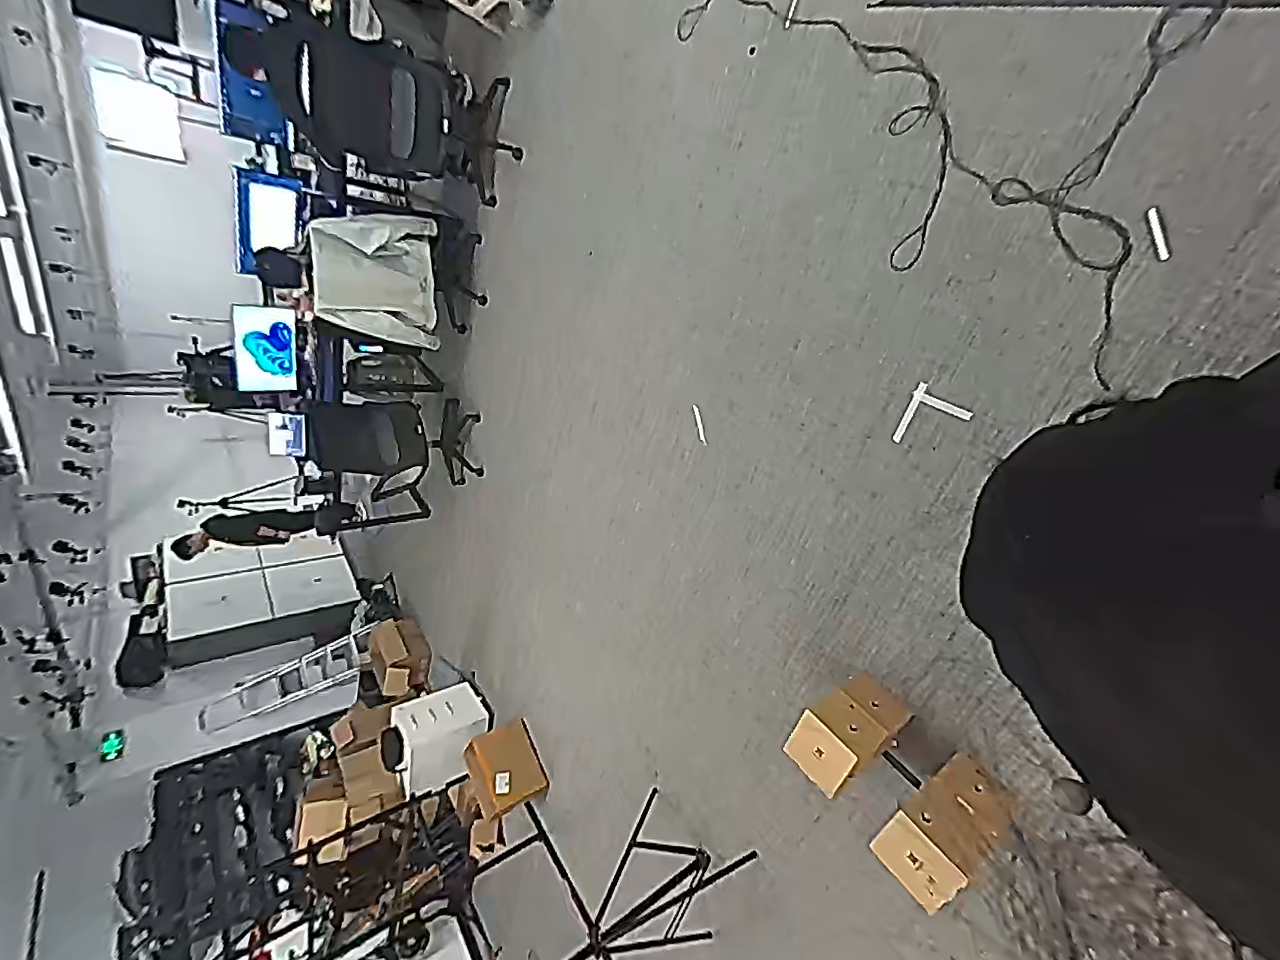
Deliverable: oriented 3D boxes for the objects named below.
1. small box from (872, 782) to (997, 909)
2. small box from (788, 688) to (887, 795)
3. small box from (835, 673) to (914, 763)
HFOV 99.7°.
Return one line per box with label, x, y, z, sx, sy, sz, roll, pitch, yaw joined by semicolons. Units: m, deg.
small box;0.709;0.868;1.307;0.179;0.176;0.168;42;128;38
small box;0.545;0.707;1.483;0.168;0.176;0.179;40;126;39
small box;0.664;0.697;1.594;0.179;0.176;0.168;41;126;37
